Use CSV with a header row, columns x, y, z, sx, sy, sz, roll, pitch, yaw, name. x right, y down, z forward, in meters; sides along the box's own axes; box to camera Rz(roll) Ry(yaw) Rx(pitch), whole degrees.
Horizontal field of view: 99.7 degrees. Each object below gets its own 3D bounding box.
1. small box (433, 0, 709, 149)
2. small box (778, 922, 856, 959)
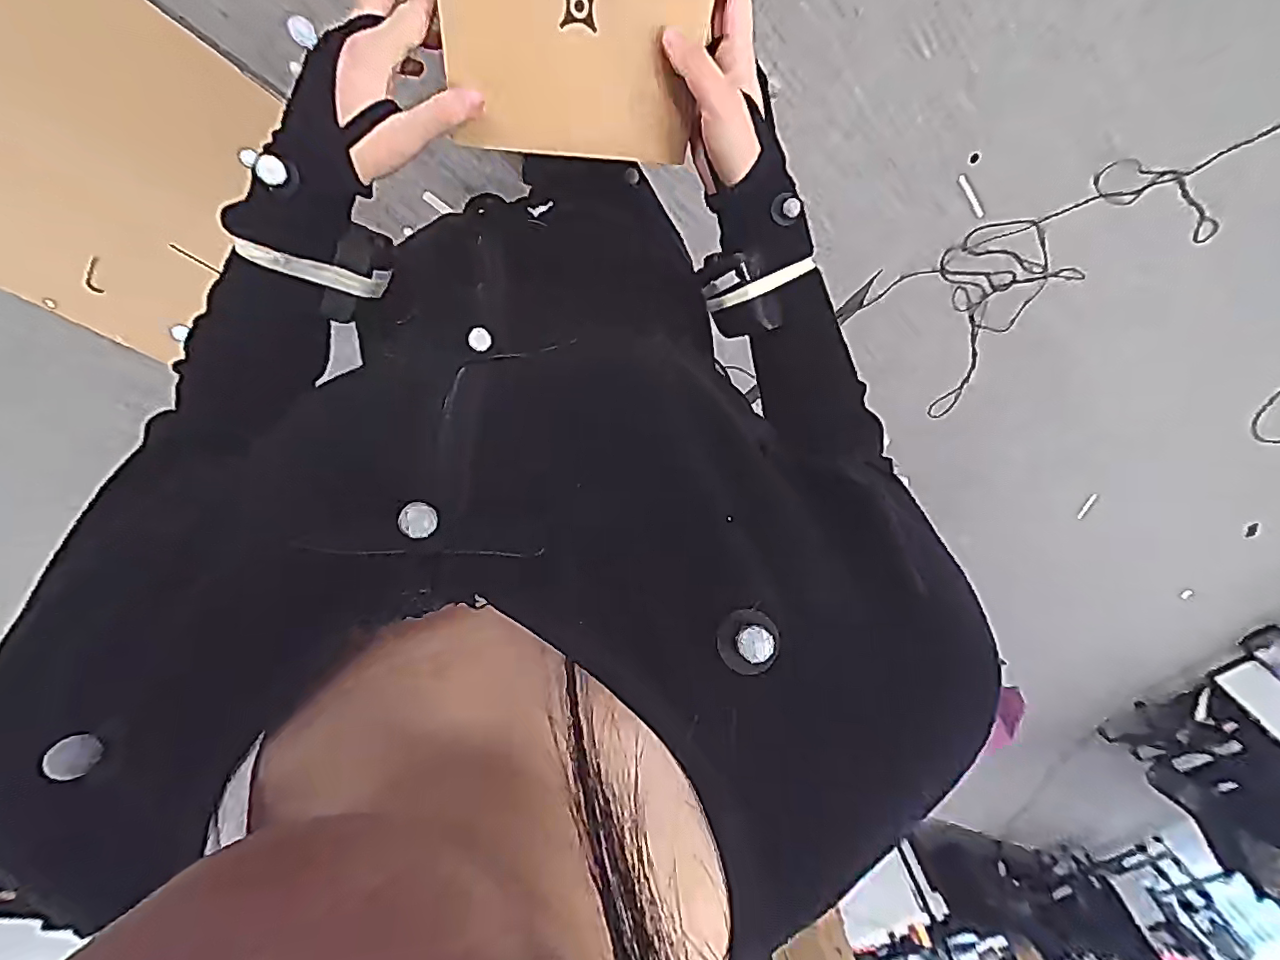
x,y,z,sx,sy,sz,roll,pitch,yaw,name
-0.050,-0.355,0.363,0.168,0.176,0.179,-3,139,-12,small box
0.519,1.408,1.557,0.168,0.176,0.179,34,115,-32,small box
